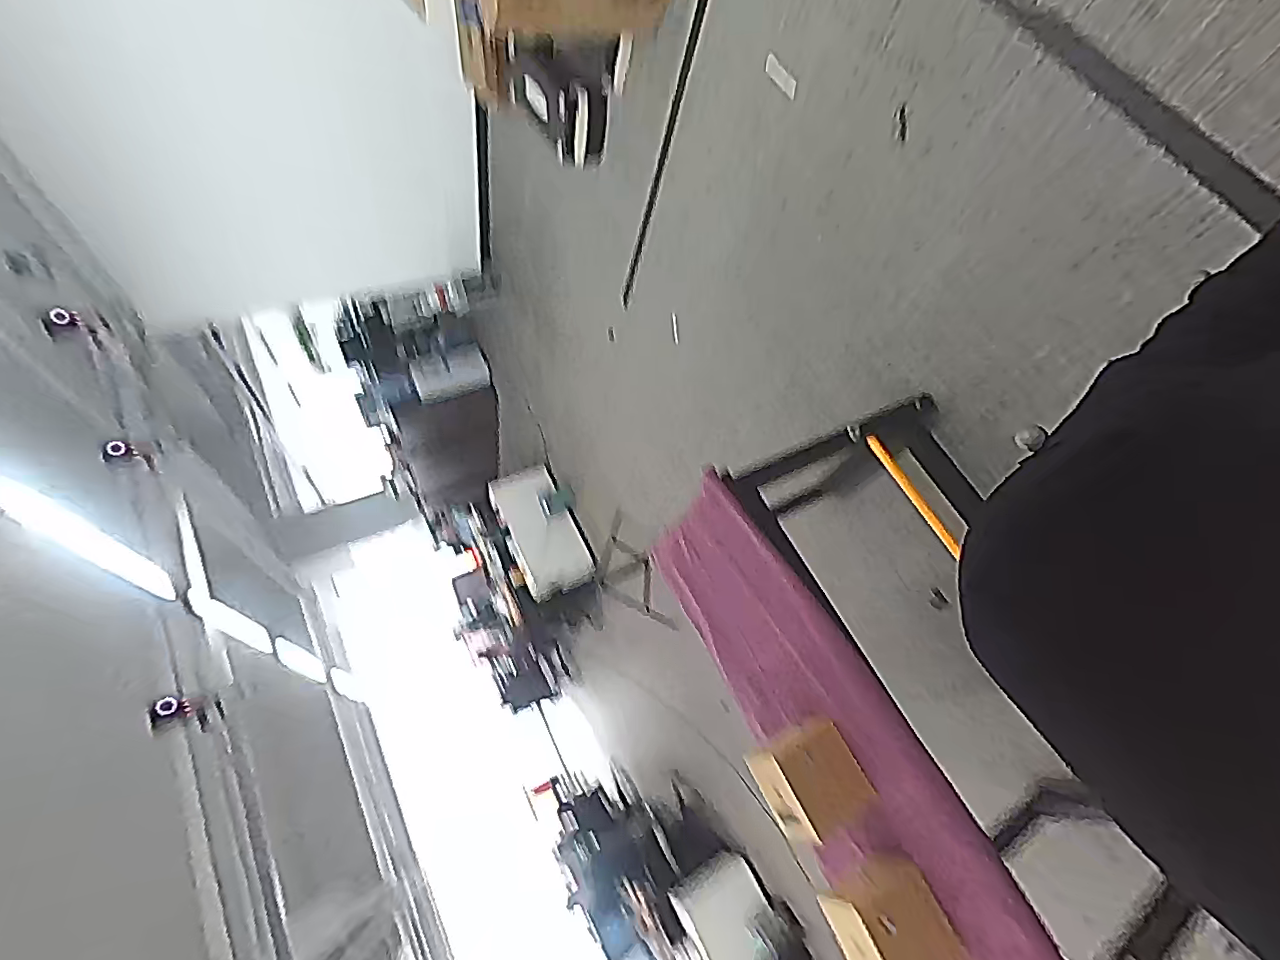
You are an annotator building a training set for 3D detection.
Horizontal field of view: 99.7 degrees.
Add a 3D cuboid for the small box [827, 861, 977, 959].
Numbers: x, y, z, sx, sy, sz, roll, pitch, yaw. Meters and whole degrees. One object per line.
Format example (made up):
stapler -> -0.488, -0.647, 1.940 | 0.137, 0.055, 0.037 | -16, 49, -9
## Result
small box -> 0.528, 0.915, 1.101 | 0.179, 0.176, 0.168 | 61, 157, 23
